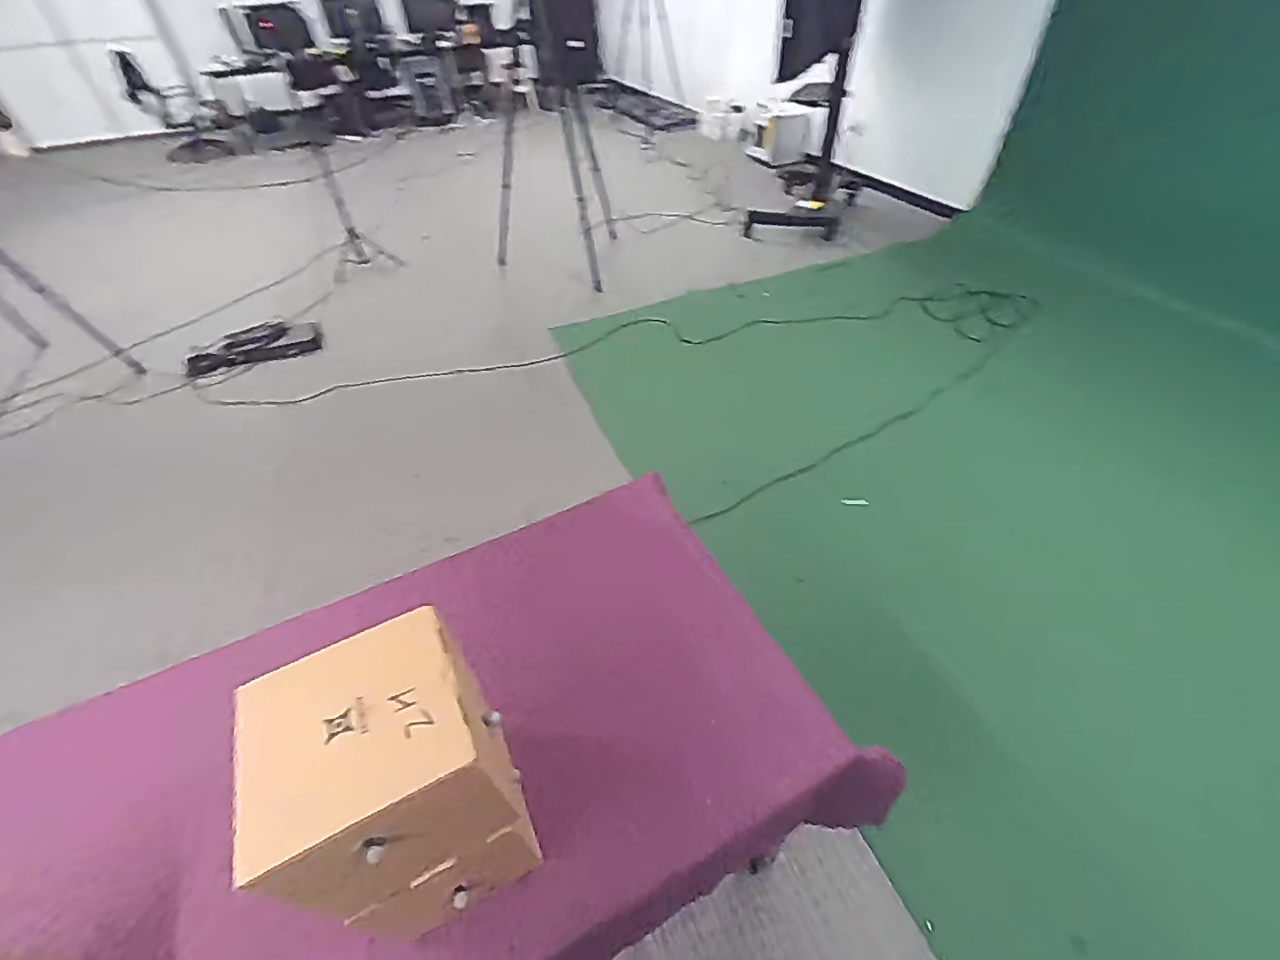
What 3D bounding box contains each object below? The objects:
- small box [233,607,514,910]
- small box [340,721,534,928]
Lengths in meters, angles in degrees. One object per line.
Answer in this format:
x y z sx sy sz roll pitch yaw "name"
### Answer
-0.238 0.260 0.507 0.179 0.176 0.168 -22 48 -18 "small box"
-0.235 0.377 0.625 0.168 0.176 0.179 -21 48 -18 "small box"
